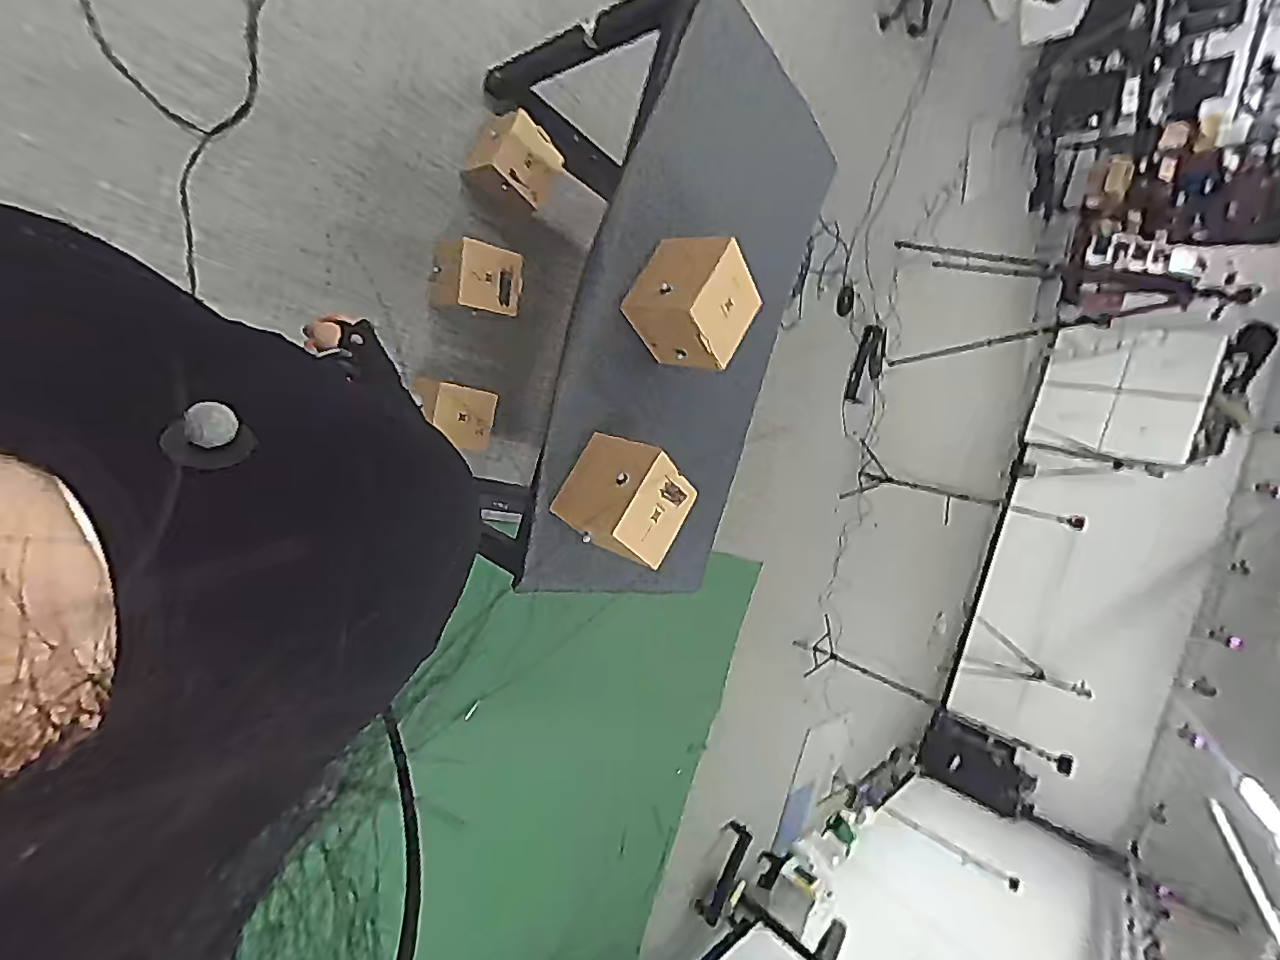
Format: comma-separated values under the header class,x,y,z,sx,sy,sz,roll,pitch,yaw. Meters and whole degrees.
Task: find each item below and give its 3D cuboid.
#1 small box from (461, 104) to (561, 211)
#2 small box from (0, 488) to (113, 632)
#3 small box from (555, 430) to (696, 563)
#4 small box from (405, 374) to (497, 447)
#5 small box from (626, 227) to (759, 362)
class,x,y,z,sx,sy,sz,roll,pitch,yaw
small box,-0.354,-0.866,1.469,0.168,0.176,0.179,32,79,-47
small box,-1.119,0.138,0.992,0.168,0.176,0.179,-32,124,-36
small box,-0.028,0.026,1.019,0.168,0.176,0.179,45,68,-47
small box,-0.530,-0.196,1.507,0.179,0.176,0.168,6,99,-48
small box,0.096,-0.351,1.032,0.168,0.176,0.179,44,69,-49
